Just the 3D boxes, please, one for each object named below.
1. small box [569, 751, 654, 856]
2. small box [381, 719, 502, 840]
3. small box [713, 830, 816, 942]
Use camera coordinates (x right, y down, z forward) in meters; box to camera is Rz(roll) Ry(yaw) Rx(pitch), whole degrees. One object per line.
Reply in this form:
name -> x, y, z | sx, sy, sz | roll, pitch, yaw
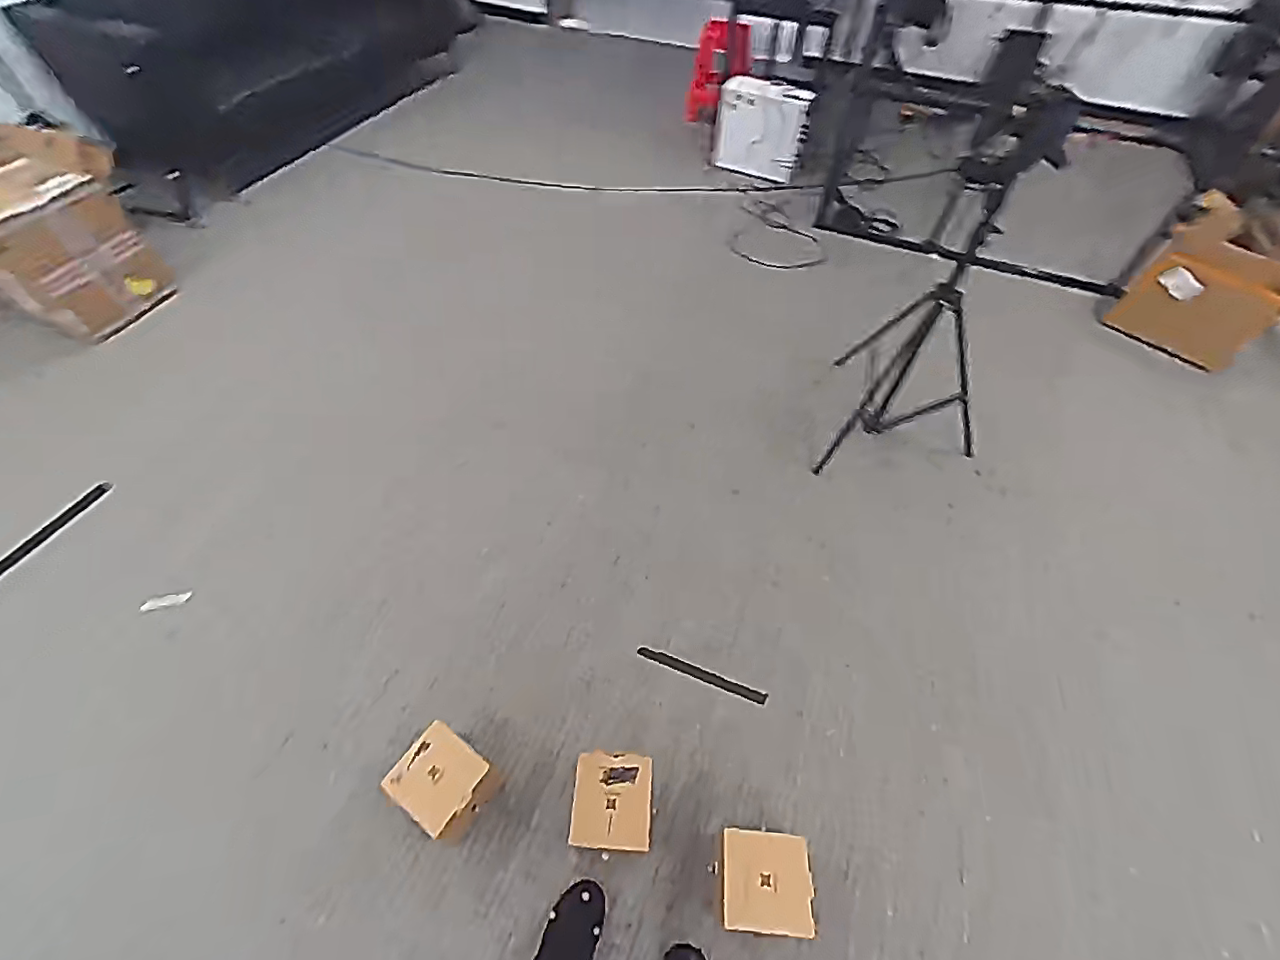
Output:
small box -> -0.059, 0.721, 1.202 | 0.168, 0.176, 0.179 | 4, 54, 2
small box -> -0.437, 0.679, 1.224 | 0.179, 0.176, 0.168 | 31, 58, 20
small box -> 0.251, 0.840, 1.126 | 0.179, 0.176, 0.168 | 4, 53, 2
